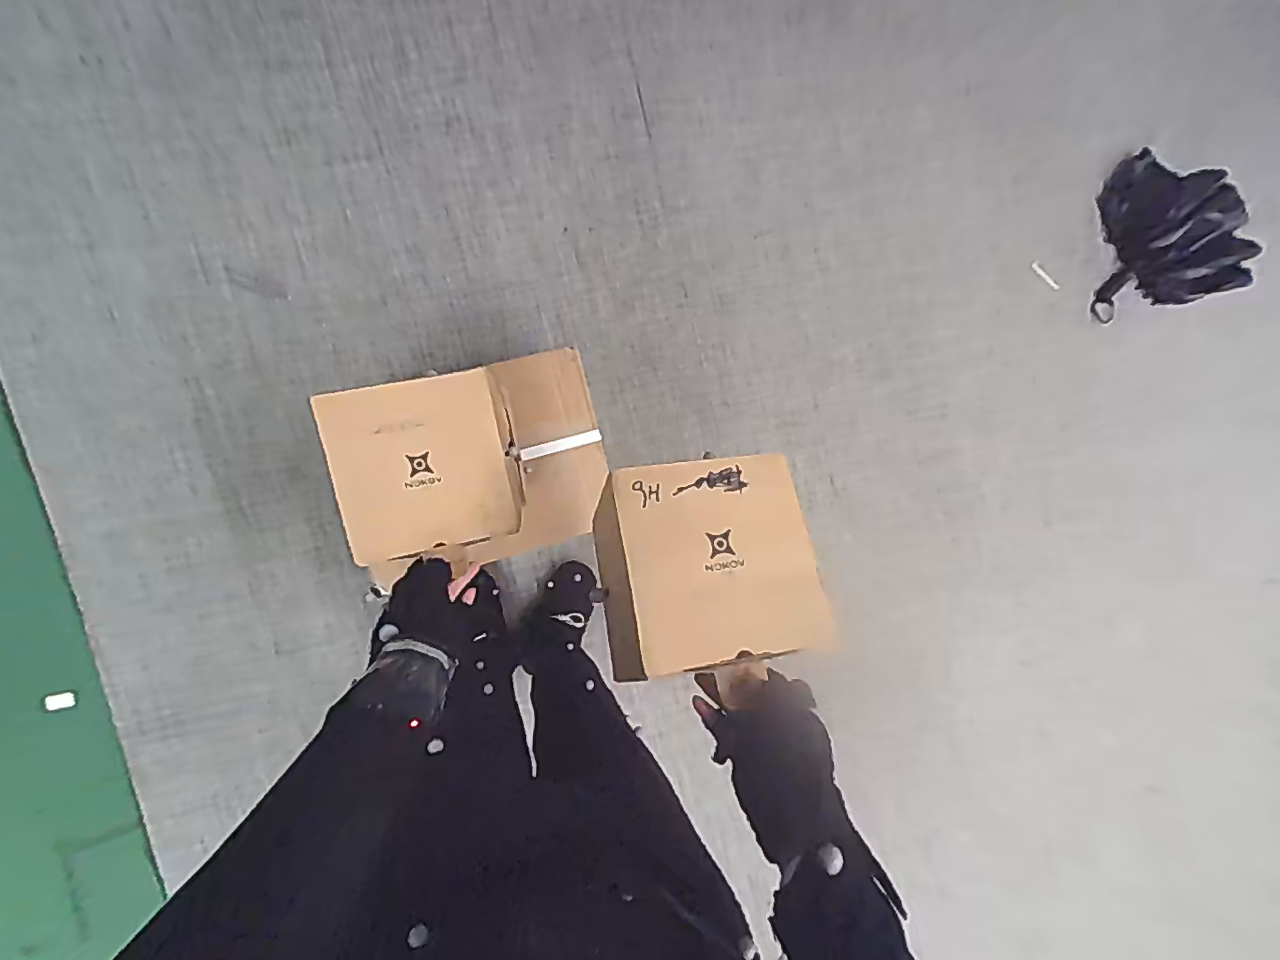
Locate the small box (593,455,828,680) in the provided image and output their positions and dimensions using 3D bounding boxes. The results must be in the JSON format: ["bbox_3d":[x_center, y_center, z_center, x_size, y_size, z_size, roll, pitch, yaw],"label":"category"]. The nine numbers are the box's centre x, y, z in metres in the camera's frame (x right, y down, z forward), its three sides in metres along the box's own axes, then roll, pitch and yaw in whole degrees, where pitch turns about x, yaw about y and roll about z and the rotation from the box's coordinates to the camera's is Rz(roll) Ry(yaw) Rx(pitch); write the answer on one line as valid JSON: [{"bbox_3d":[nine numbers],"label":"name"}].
[{"bbox_3d":[0.052,0.092,0.534,0.168,0.176,0.179,-6,72,-14],"label":"small box"}]

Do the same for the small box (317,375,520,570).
[{"bbox_3d":[-0.235,-0.017,0.624,0.168,0.176,0.179,-13,99,-11],"label":"small box"}]

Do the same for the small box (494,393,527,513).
[{"bbox_3d":[-0.263,-0.034,0.780,0.179,0.176,0.168,-8,98,-11],"label":"small box"}]
